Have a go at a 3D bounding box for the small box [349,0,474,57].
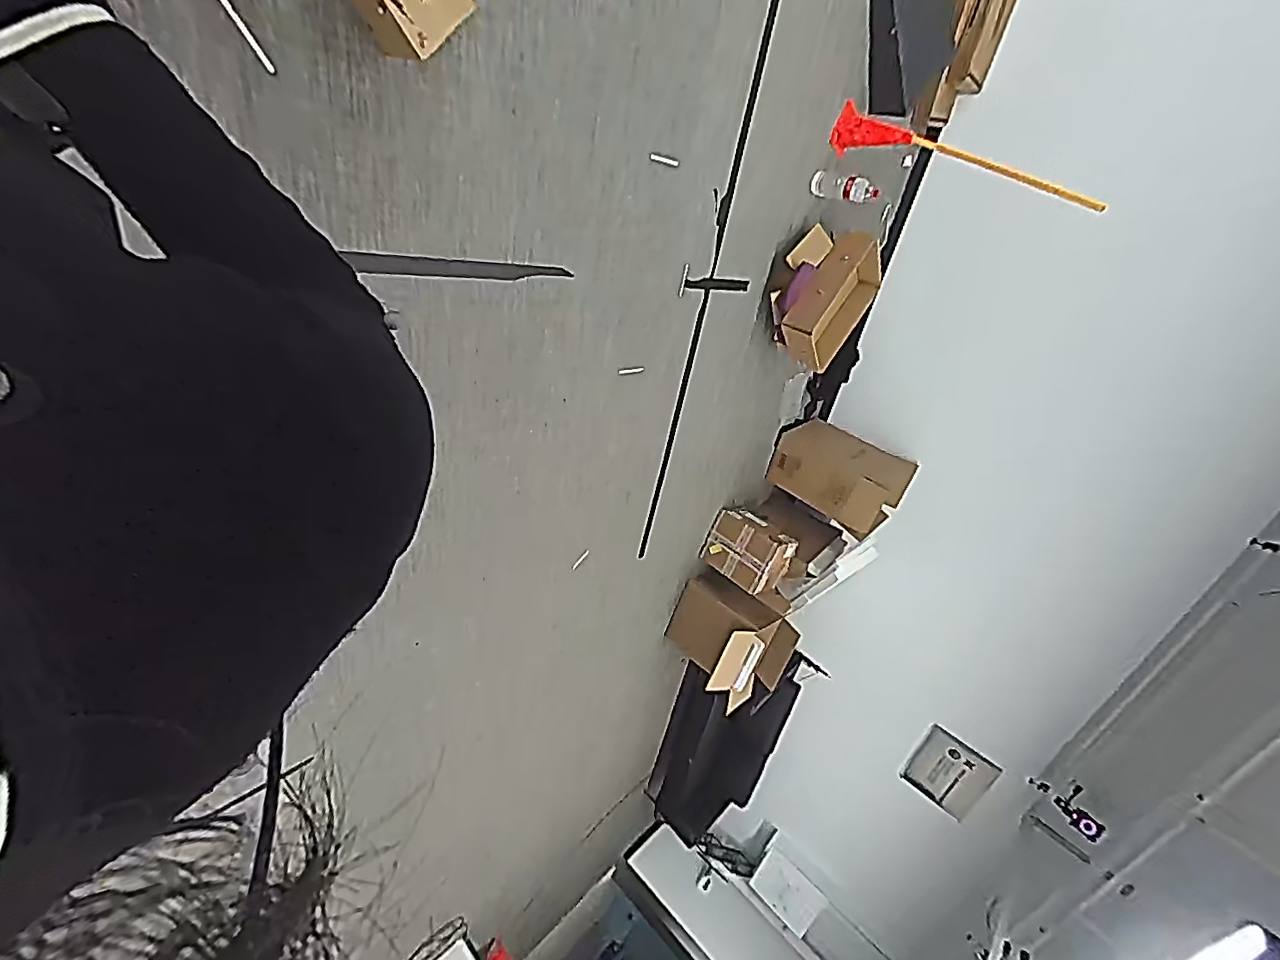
[{"bbox_3d":[-0.490,-1.022,1.116,0.179,0.176,0.168,-52,148,-8],"label":"small box"}]
